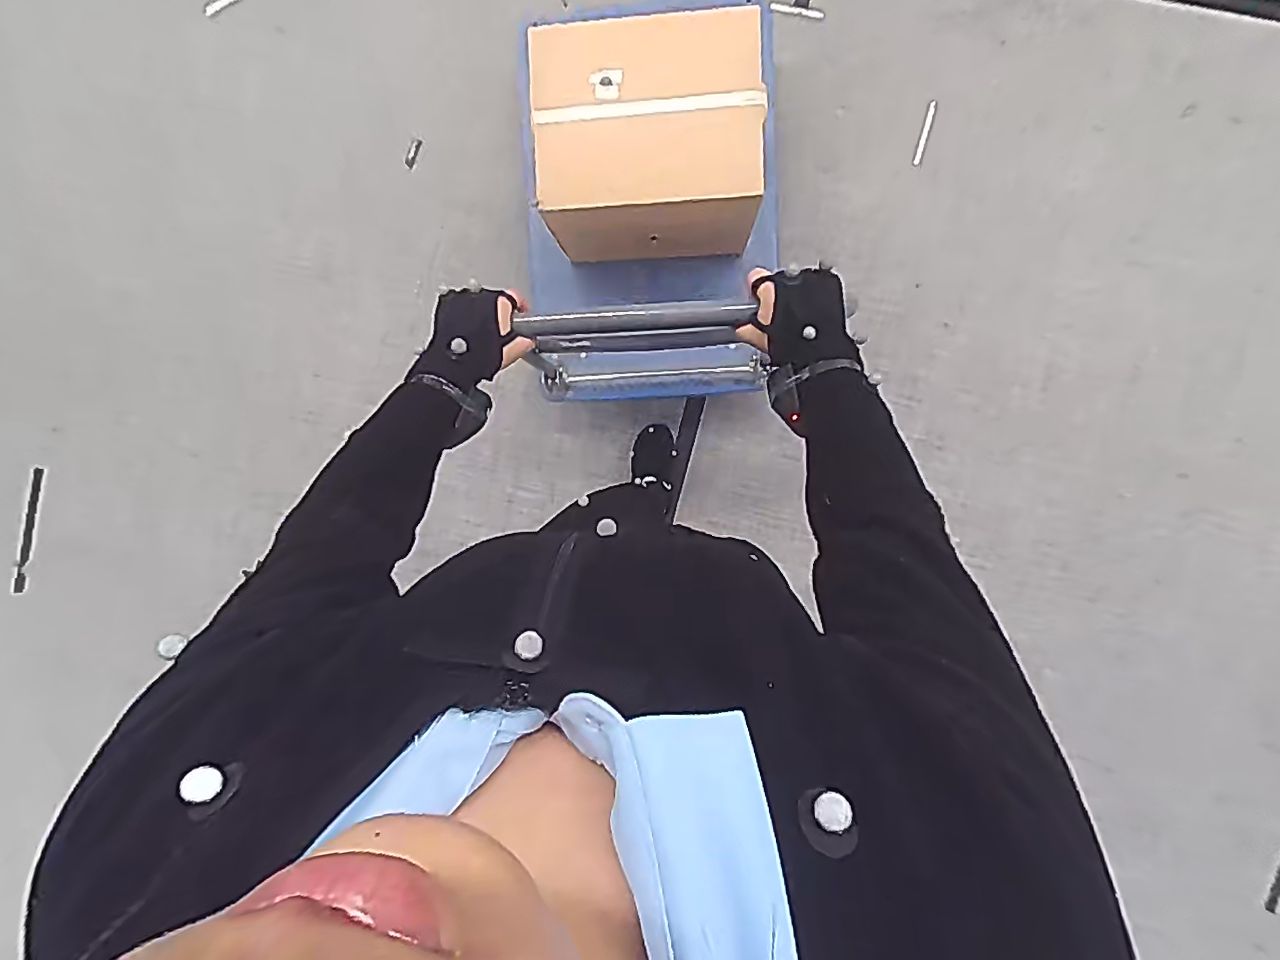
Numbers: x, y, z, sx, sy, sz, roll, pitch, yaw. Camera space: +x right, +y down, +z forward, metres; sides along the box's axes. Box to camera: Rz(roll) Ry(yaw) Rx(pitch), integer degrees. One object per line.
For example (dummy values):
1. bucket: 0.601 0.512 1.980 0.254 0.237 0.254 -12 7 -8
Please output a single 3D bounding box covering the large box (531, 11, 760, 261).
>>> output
1. large box: 0.023 -0.665 1.113 0.408 0.320 0.320 -2 94 5
